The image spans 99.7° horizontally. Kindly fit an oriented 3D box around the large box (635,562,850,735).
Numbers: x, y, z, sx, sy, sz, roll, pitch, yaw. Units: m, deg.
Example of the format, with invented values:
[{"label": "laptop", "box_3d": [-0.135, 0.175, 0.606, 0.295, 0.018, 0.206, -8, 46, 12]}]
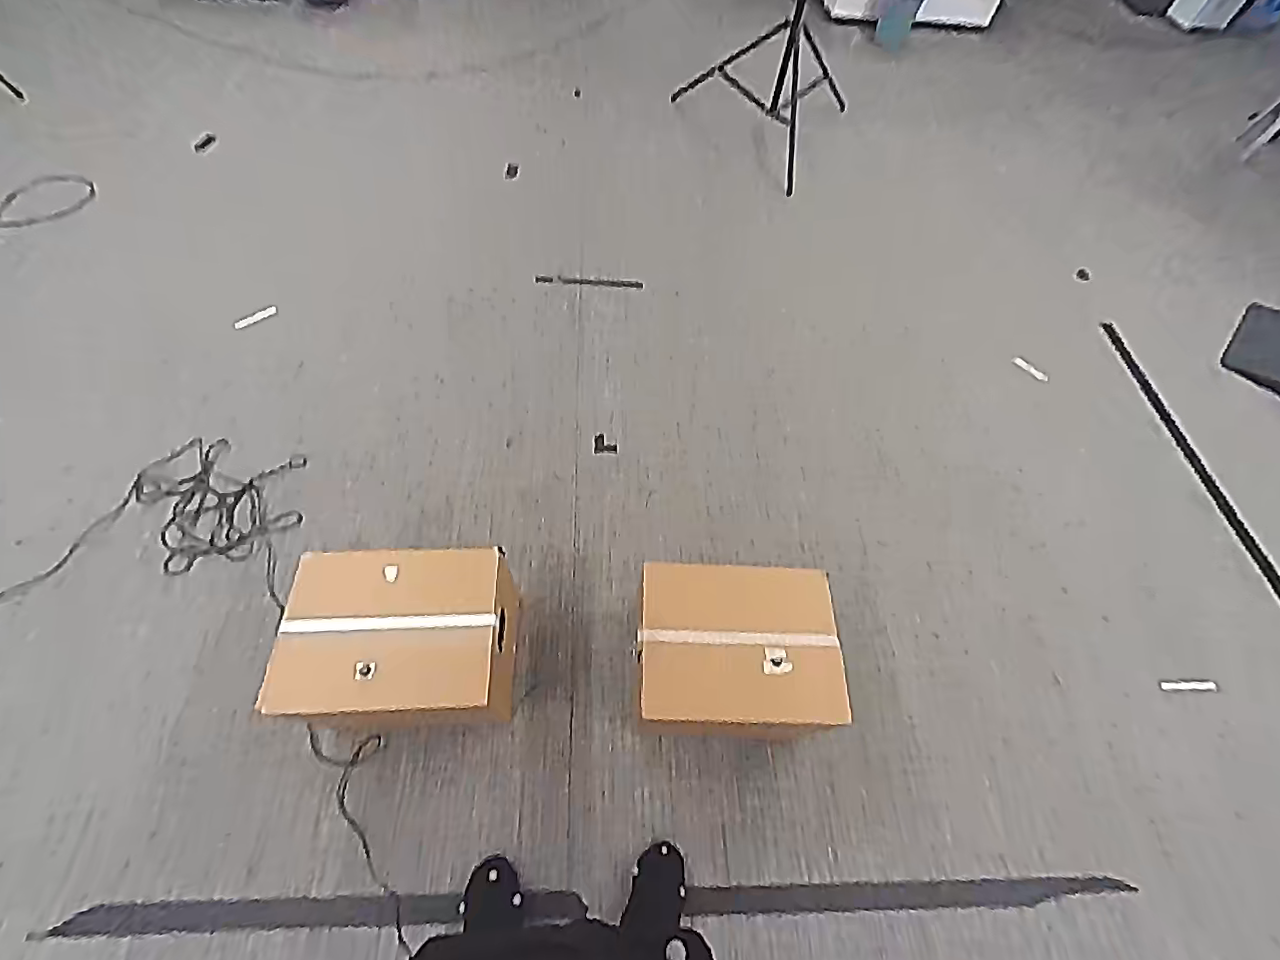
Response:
[{"label": "large box", "box_3d": [0.196, 0.395, 1.231, 0.408, 0.320, 0.320, 3, 60, -4]}]
